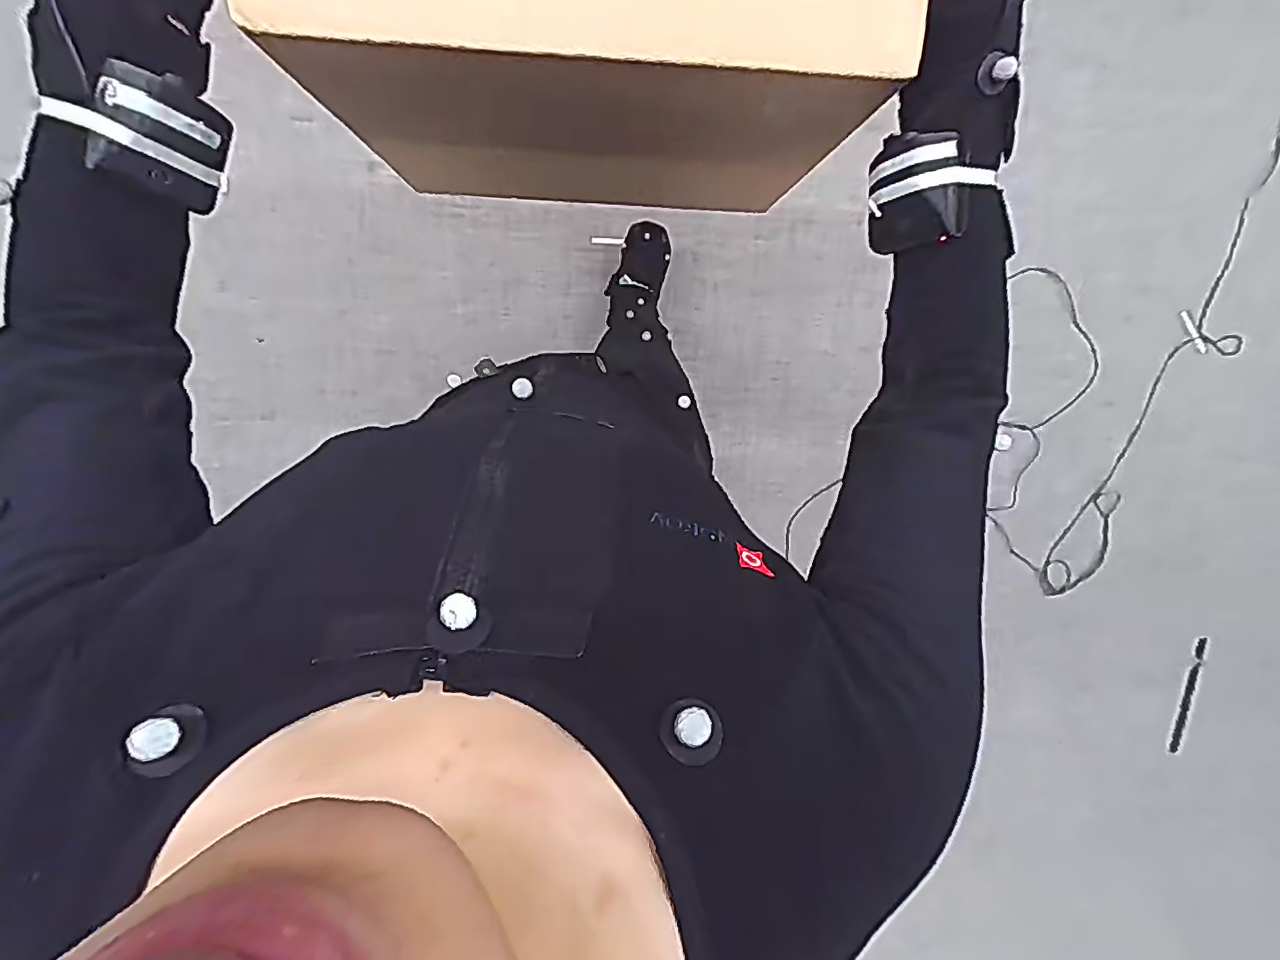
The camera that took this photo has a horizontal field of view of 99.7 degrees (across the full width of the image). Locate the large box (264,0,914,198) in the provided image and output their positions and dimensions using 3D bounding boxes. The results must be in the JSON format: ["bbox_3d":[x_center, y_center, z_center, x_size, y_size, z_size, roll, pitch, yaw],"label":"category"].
[{"bbox_3d":[-0.036,-0.448,0.447,0.408,0.320,0.320,0,103,-5],"label":"large box"}]
